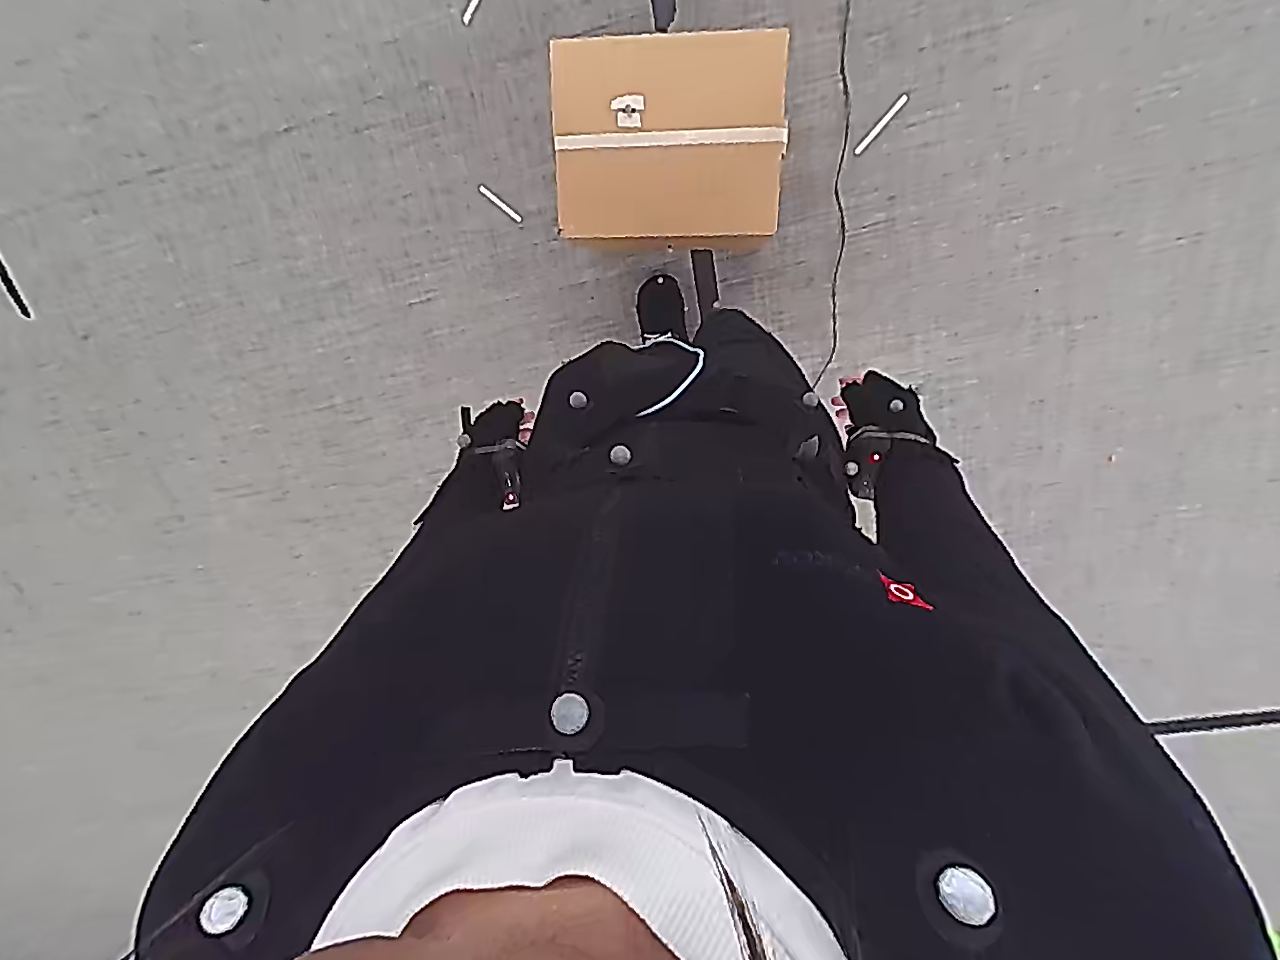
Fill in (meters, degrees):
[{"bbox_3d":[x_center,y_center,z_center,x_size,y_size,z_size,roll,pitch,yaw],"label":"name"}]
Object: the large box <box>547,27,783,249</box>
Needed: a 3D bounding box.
[{"bbox_3d":[0.059,-0.644,1.088,0.408,0.320,0.320,2,108,7],"label":"large box"}]
